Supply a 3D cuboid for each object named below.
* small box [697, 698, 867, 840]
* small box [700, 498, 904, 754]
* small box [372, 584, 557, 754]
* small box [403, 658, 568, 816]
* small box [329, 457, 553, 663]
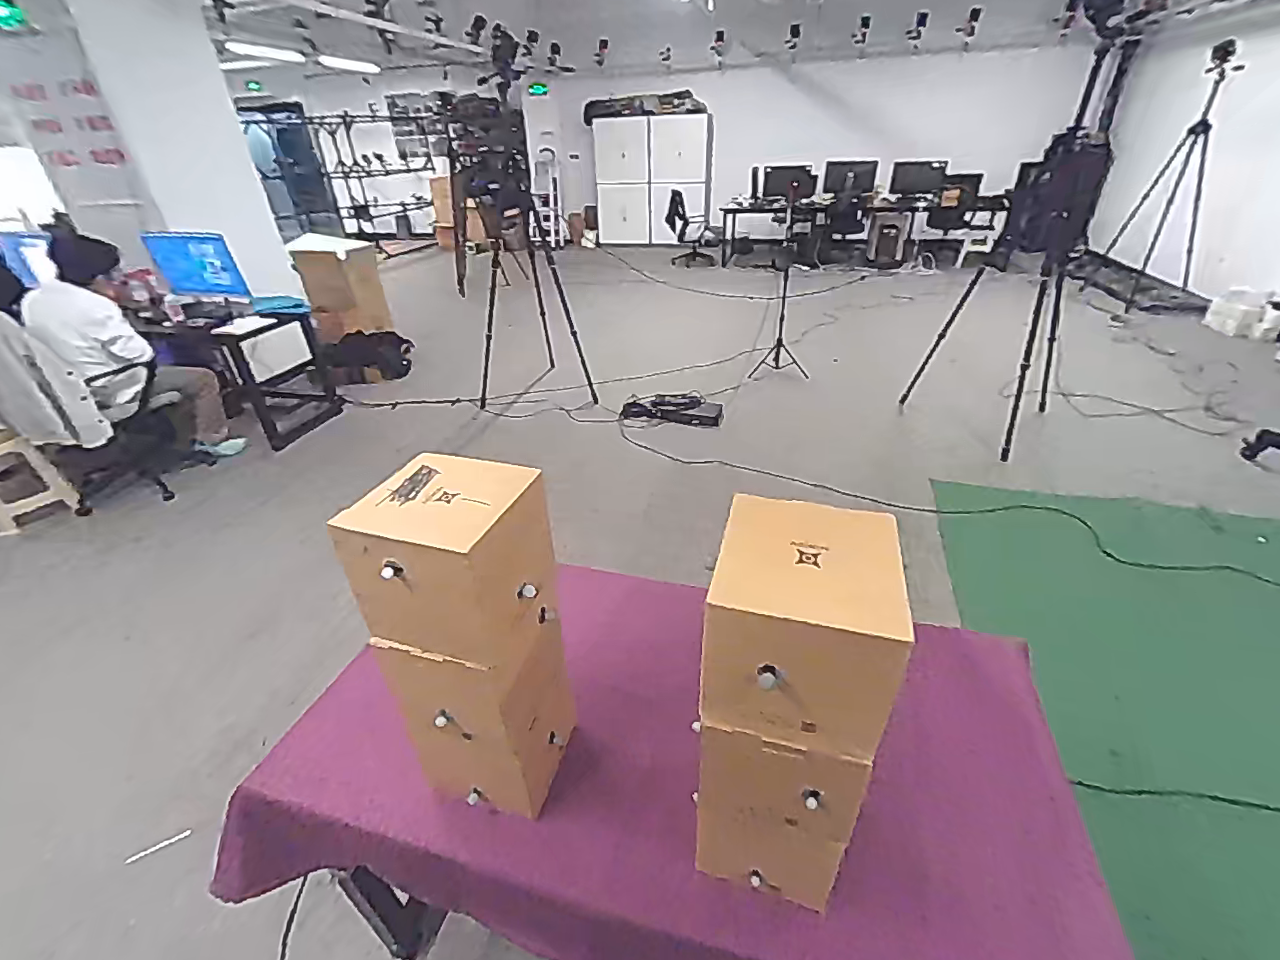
[{"bbox_3d":[0.164,0.281,0.638,0.168,0.176,0.179,7,33,14],"label":"small box"},{"bbox_3d":[0.157,0.143,0.553,0.168,0.176,0.179,8,33,15],"label":"small box"},{"bbox_3d":[-0.222,0.231,0.738,0.168,0.176,0.179,7,33,15],"label":"small box"},{"bbox_3d":[-0.218,0.374,0.822,0.179,0.176,0.168,7,33,13],"label":"small box"},{"bbox_3d":[-0.222,0.092,0.651,0.179,0.176,0.168,9,33,15],"label":"small box"}]
